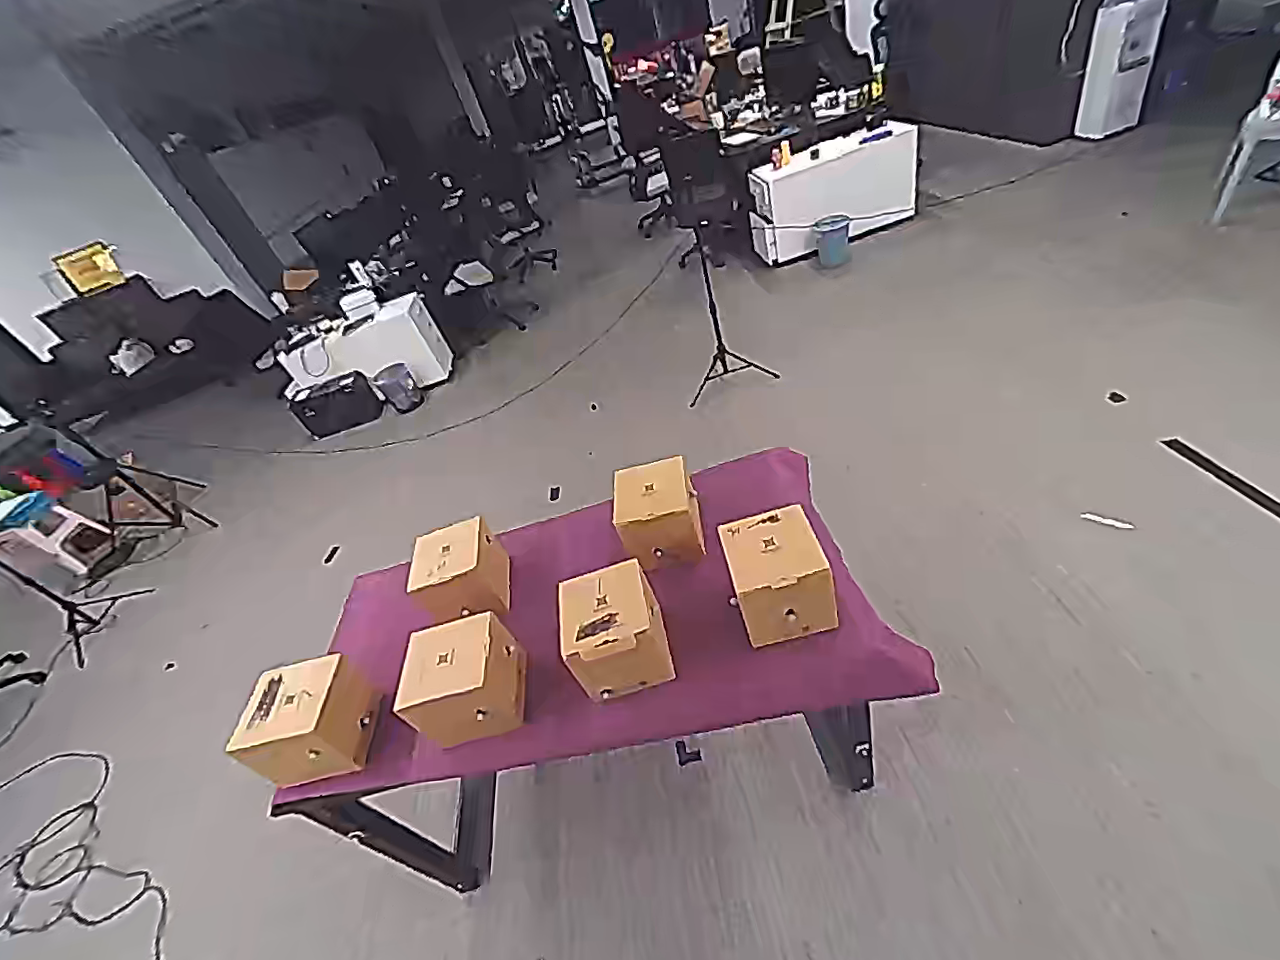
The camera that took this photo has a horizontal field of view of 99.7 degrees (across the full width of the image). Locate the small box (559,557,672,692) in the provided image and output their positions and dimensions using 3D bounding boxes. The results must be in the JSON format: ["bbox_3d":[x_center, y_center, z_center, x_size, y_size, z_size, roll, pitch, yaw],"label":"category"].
[{"bbox_3d":[-0.047,0.285,1.042,0.168,0.176,0.179,-18,38,4],"label":"small box"}]

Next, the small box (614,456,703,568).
[{"bbox_3d":[0.044,0.076,1.248,0.168,0.176,0.179,-14,41,10],"label":"small box"}]

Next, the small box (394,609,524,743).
[{"bbox_3d":[-0.339,0.386,1.058,0.179,0.176,0.168,-17,39,5],"label":"small box"}]

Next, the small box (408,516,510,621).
[{"bbox_3d":[-0.421,0.221,1.288,0.168,0.176,0.179,-20,39,2],"label":"small box"}]

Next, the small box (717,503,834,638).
[{"bbox_3d":[0.257,0.178,1.026,0.168,0.176,0.179,-16,37,7],"label":"small box"}]
